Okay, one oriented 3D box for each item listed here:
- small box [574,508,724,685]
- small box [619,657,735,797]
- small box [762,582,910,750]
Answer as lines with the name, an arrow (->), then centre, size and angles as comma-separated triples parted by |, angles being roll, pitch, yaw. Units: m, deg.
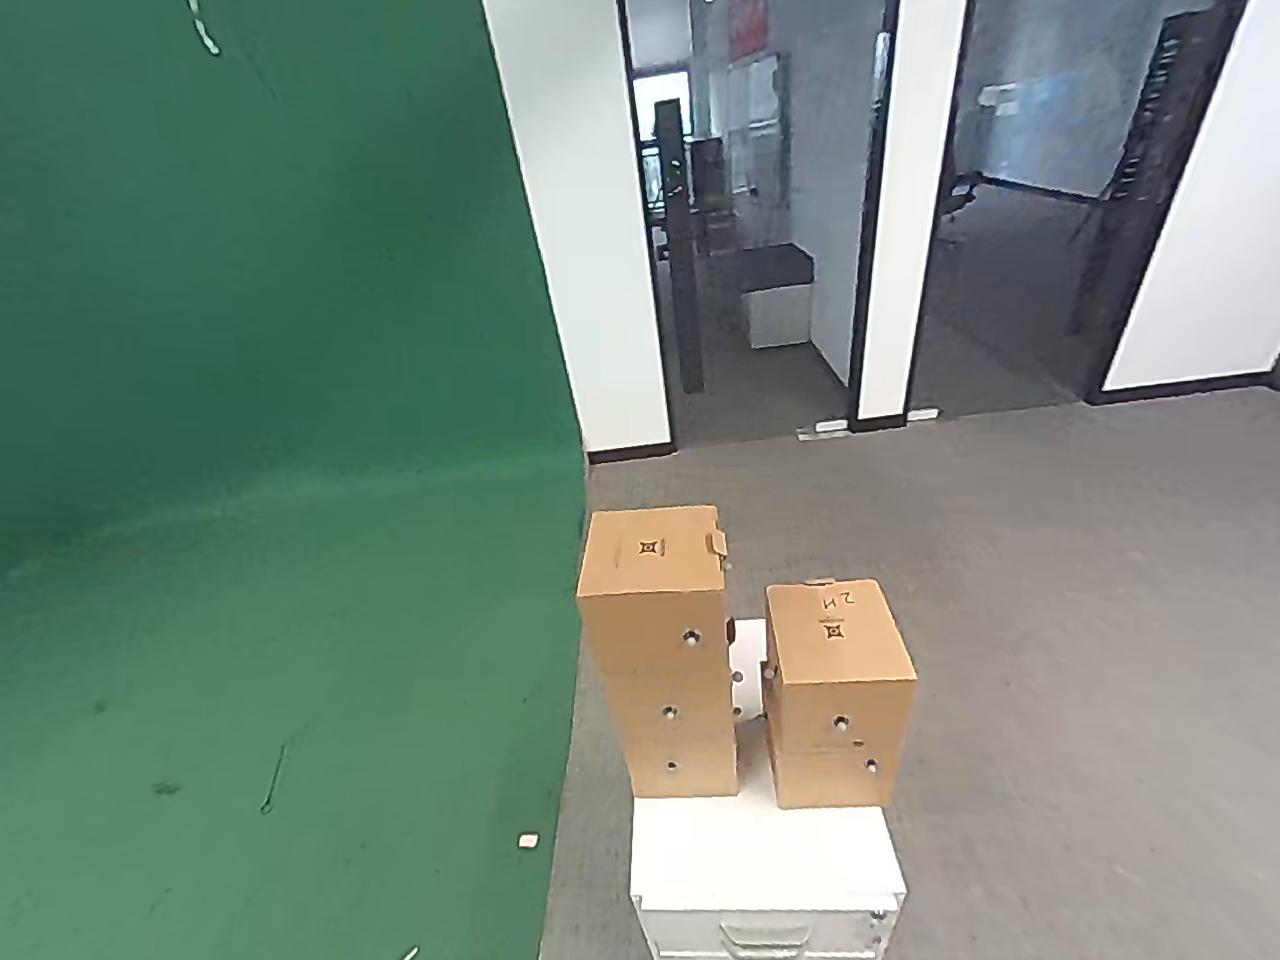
small box -> 0.022, 0.157, 0.731 | 0.179, 0.176, 0.168 | -5, 33, 6
small box -> 0.065, 0.420, 0.924 | 0.179, 0.176, 0.168 | -4, 35, 5
small box -> 0.274, 0.275, 0.794 | 0.168, 0.176, 0.179 | -4, 34, 7
